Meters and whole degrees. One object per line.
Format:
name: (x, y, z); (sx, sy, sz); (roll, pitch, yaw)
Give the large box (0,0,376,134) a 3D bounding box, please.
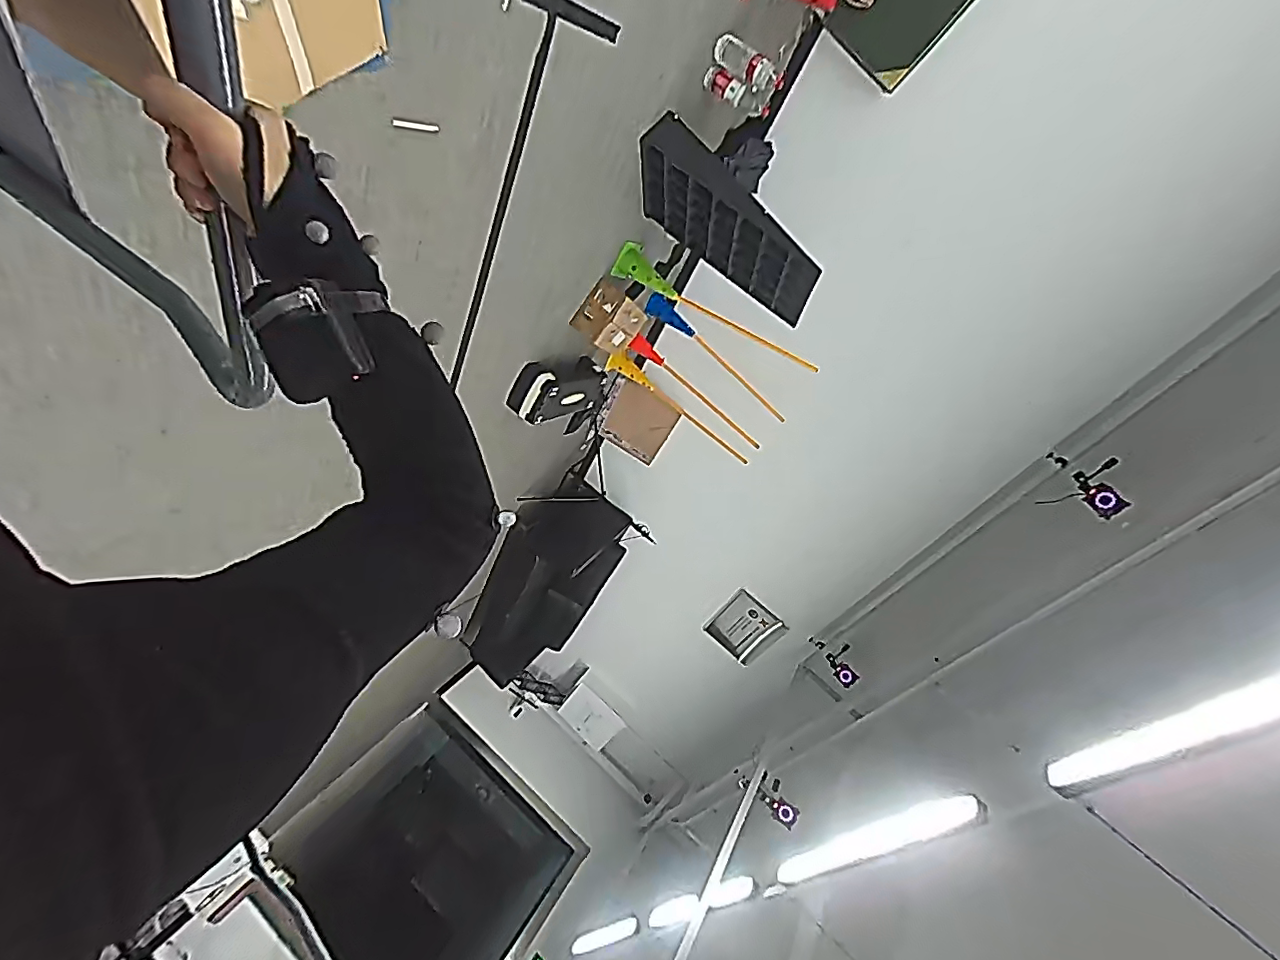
large box: (-0.543, -0.691, 0.556); (0.320, 0.320, 0.408); (-55, 178, -27)
